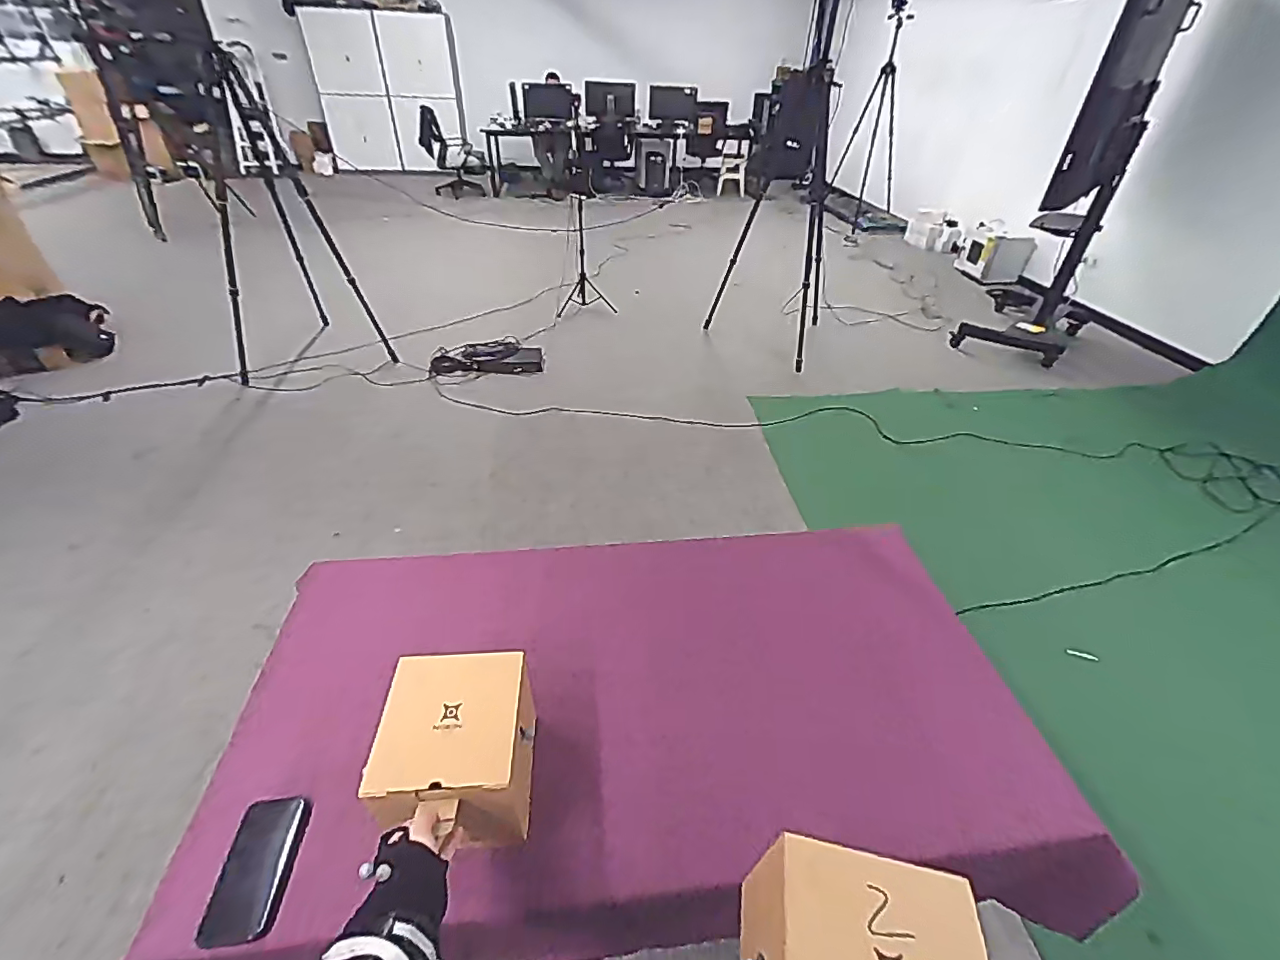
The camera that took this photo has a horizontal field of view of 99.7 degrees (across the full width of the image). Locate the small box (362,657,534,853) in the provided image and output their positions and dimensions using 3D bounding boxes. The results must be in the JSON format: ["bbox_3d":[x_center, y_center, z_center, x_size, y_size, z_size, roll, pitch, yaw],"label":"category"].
[{"bbox_3d":[-0.232,0.355,0.707,0.168,0.176,0.179,0,38,-5],"label":"small box"}]
